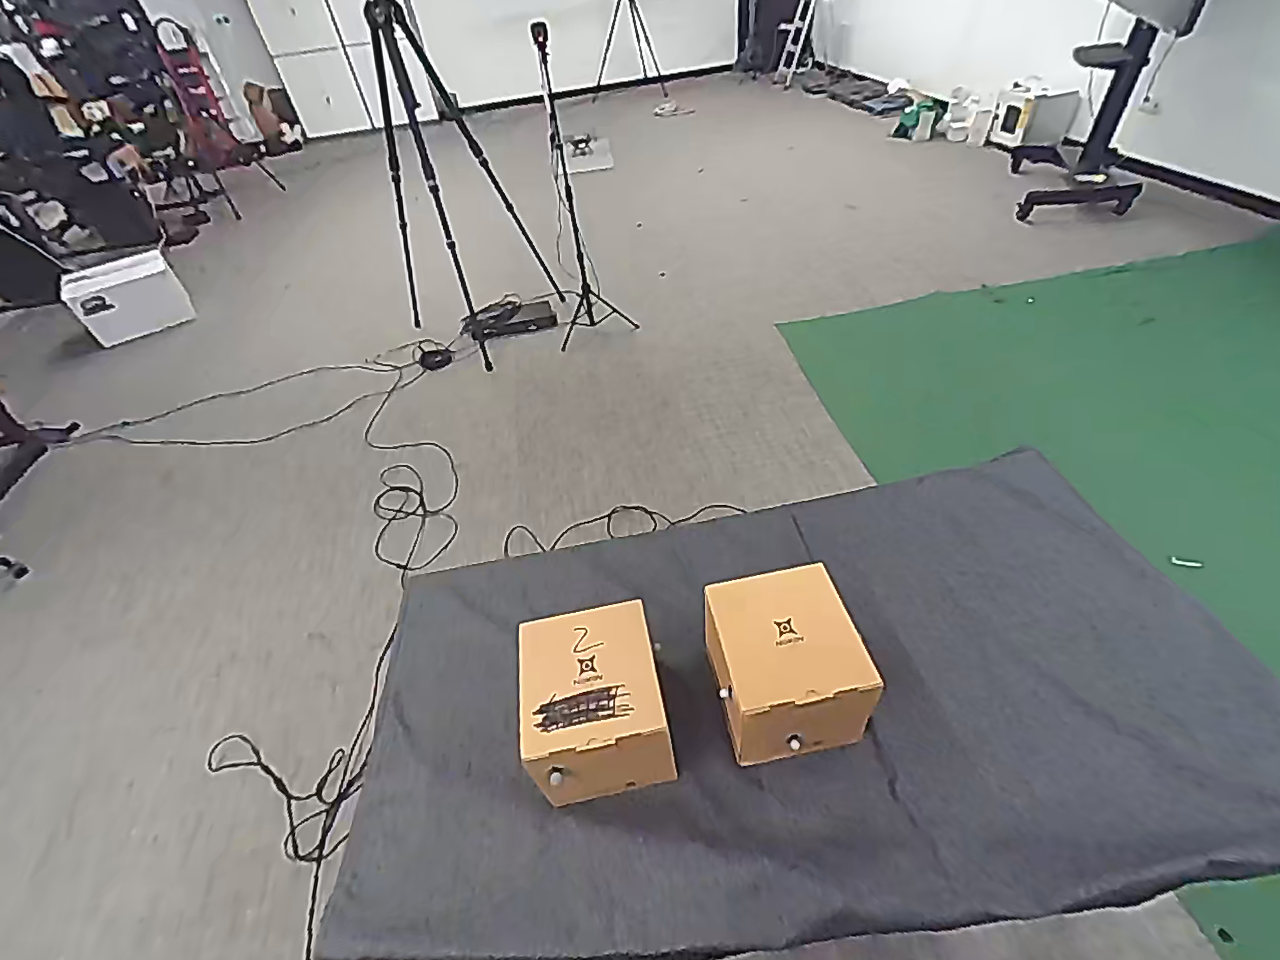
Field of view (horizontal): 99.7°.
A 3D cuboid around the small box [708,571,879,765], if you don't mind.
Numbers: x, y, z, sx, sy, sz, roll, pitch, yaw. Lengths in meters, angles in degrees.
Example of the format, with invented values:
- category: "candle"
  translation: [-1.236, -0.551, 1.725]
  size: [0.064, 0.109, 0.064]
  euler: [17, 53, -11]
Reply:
- category: "small box"
  translation: [0.190, 0.253, 0.731]
  size: [0.168, 0.176, 0.179]
  euler: [-11, 45, -3]
